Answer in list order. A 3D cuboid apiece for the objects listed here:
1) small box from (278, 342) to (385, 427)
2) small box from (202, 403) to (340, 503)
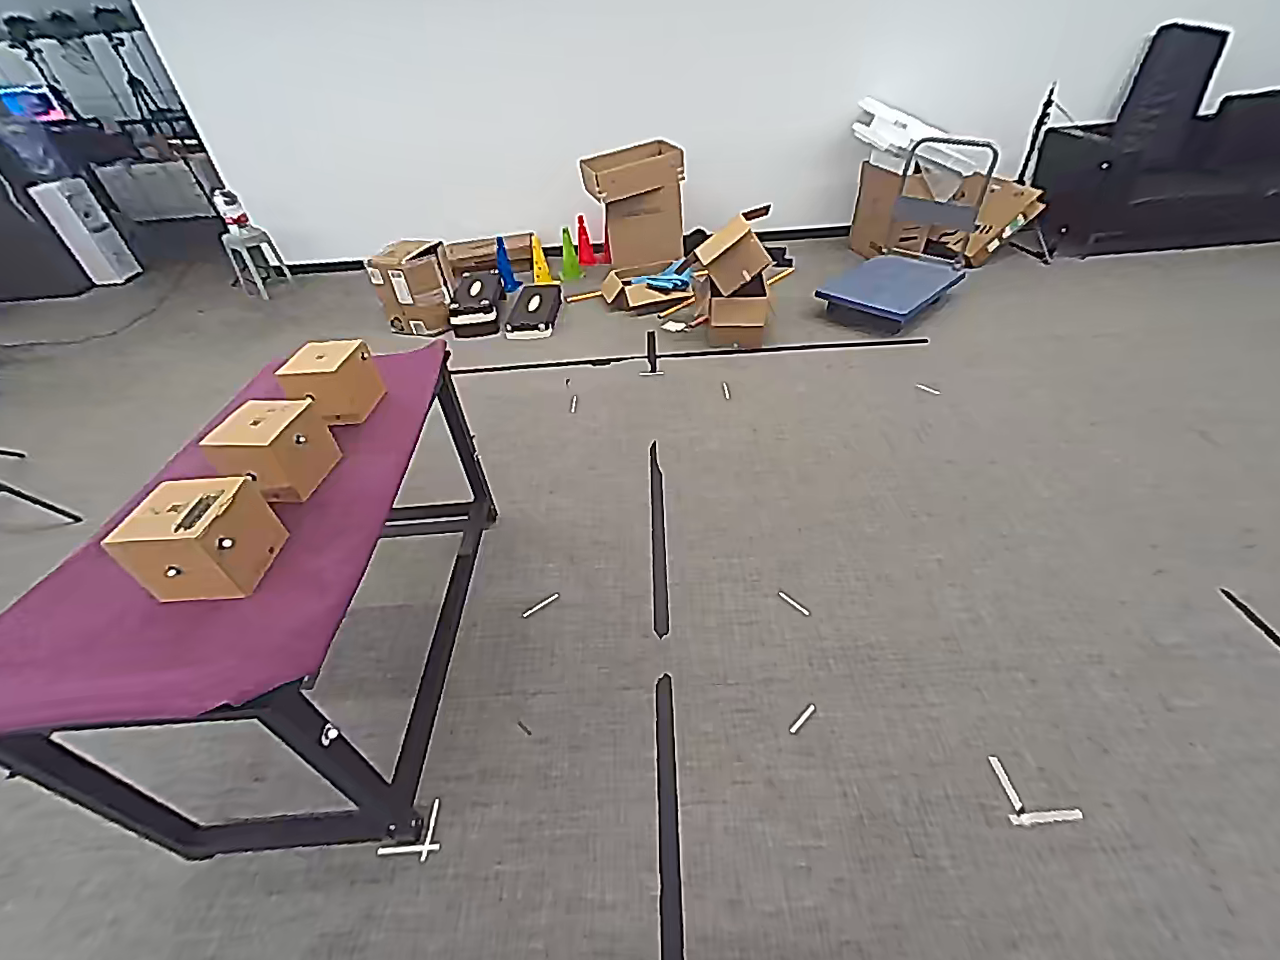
[{"bbox_3d":[-0.830,-0.256,1.478,0.168,0.176,0.179,-3,40,5],"label":"small box"},{"bbox_3d":[-0.835,-0.062,1.250,0.168,0.176,0.179,1,40,7],"label":"small box"}]
